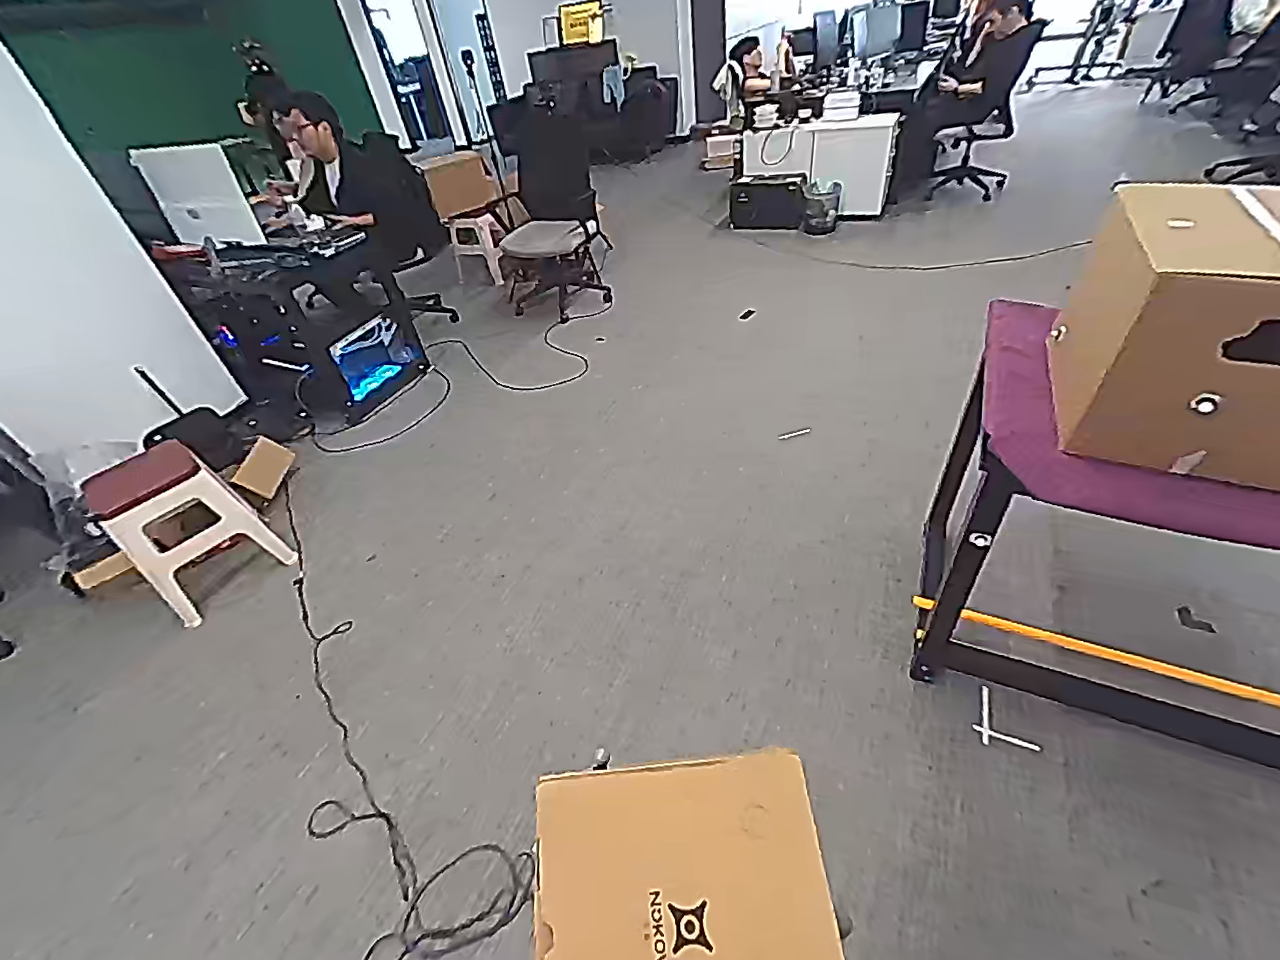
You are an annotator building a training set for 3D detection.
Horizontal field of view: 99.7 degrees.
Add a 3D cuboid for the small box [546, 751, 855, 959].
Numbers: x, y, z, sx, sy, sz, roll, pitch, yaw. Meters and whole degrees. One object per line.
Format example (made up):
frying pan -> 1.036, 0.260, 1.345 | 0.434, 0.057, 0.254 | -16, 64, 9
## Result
small box -> 0.044, 0.291, 0.382 | 0.179, 0.176, 0.168 | -10, 62, 7
